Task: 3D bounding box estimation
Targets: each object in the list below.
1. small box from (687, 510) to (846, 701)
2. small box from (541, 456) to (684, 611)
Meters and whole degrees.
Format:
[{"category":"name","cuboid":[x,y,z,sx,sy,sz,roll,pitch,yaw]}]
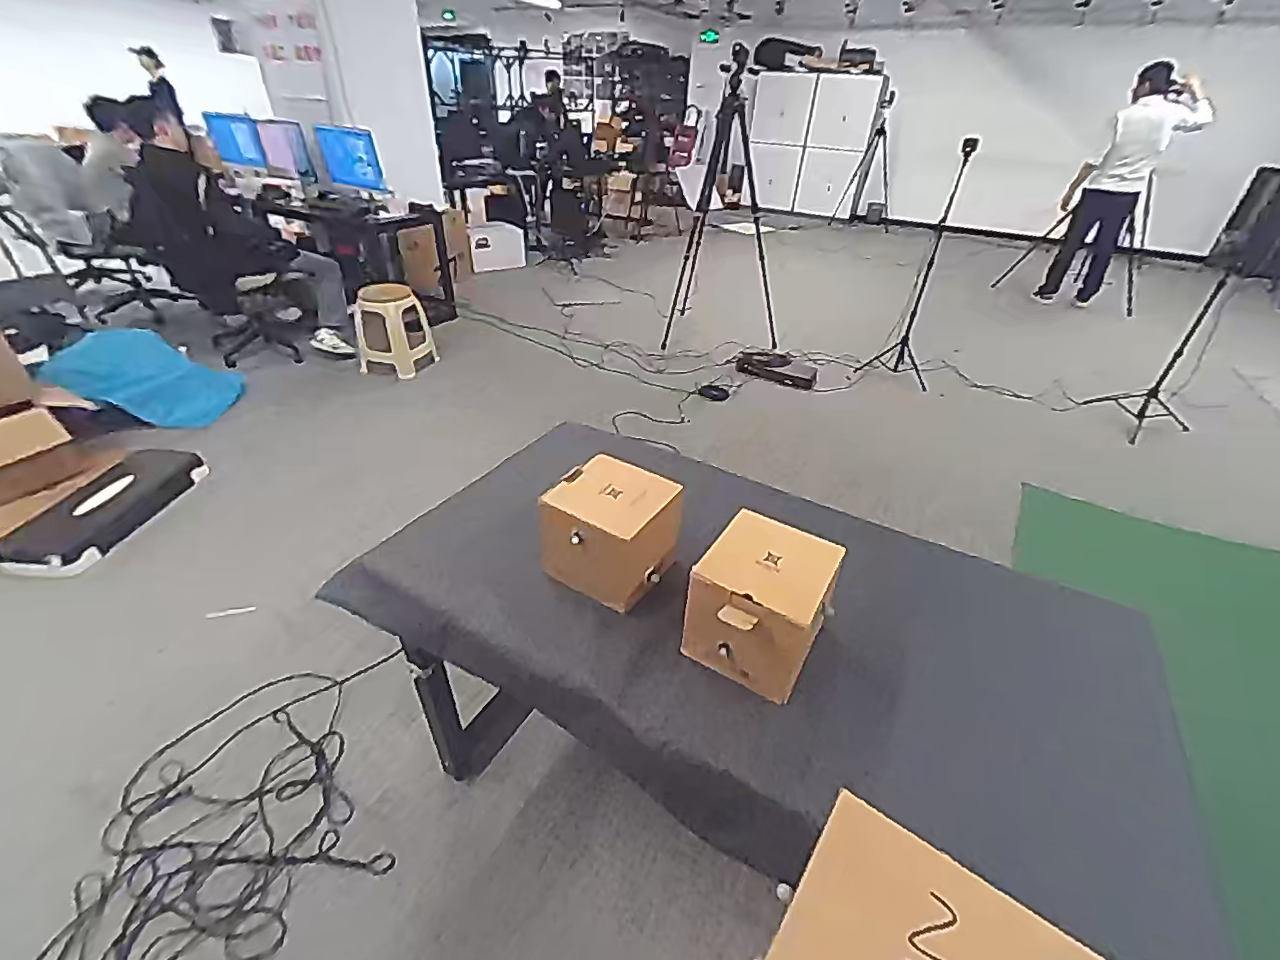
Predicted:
[{"category":"small box","cuboid":[0.180,0.180,0.797,0.168,0.176,0.179,21,39,25]},{"category":"small box","cuboid":[-0.046,0.088,0.912,0.179,0.176,0.168,23,40,24]}]
